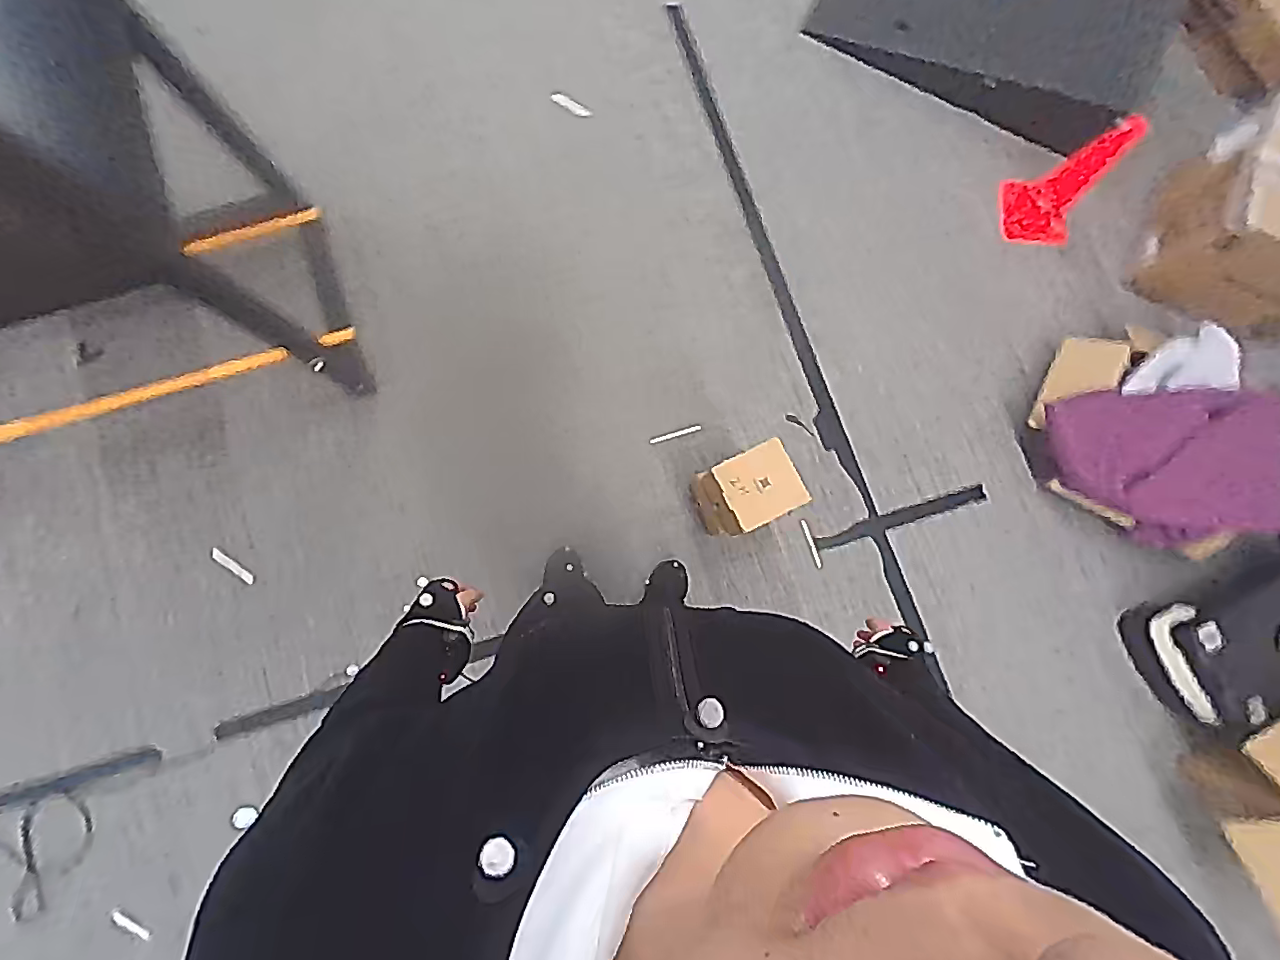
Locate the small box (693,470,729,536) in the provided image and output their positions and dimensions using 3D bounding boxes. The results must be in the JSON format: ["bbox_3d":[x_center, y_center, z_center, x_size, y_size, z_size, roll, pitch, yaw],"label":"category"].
[{"bbox_3d":[0.256,0.045,1.454,0.179,0.176,0.168,-21,82,-3],"label":"small box"}]

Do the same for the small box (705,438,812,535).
[{"bbox_3d":[0.273,0.022,1.291,0.179,0.176,0.168,-26,83,-5],"label":"small box"}]
